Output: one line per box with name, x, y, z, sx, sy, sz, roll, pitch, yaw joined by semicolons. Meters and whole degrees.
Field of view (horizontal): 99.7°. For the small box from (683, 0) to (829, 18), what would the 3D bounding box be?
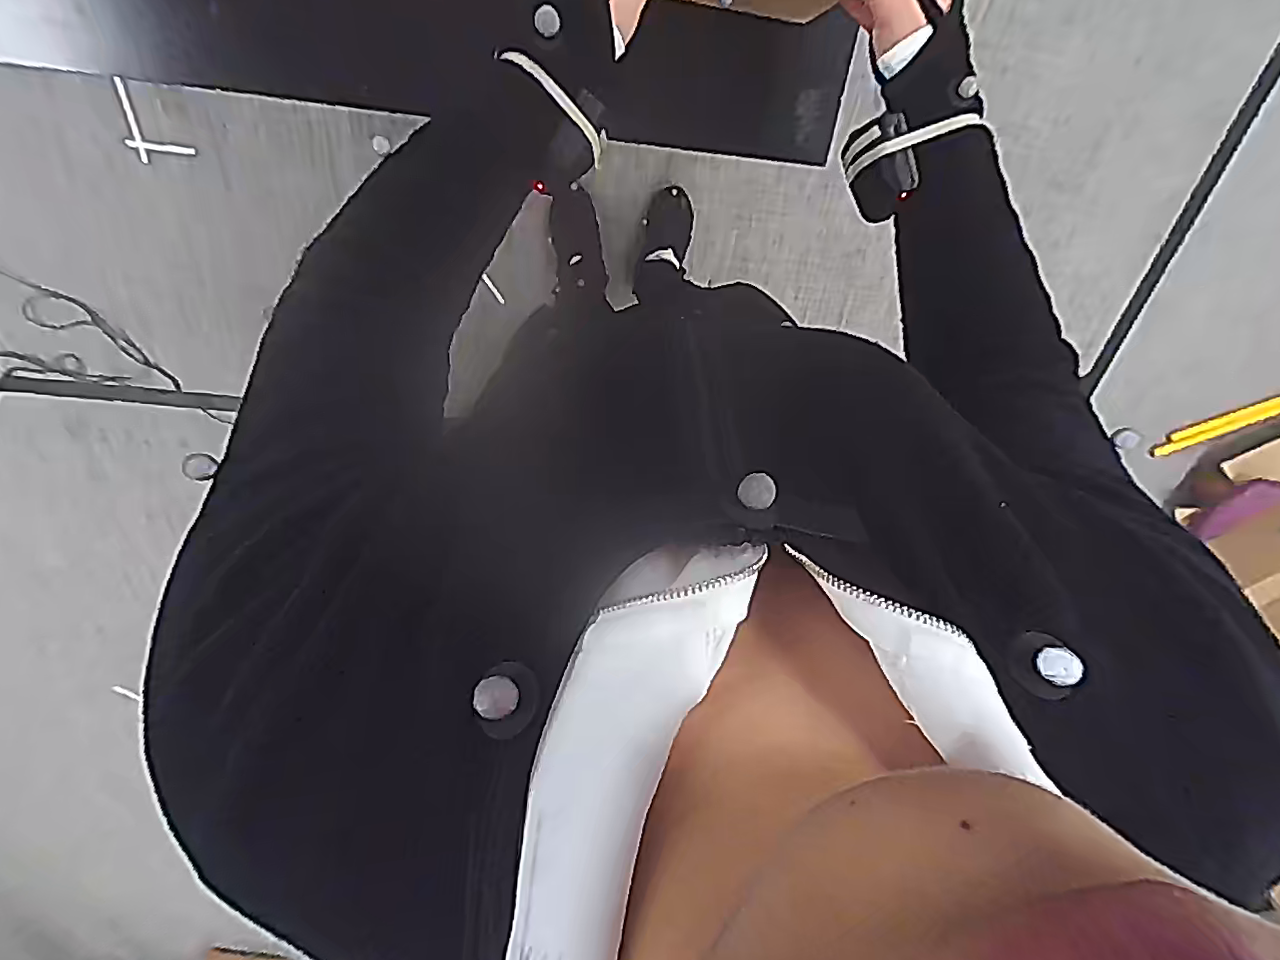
small box;0.086;-0.477;0.406;0.179;0.176;0.168;6;121;-6
